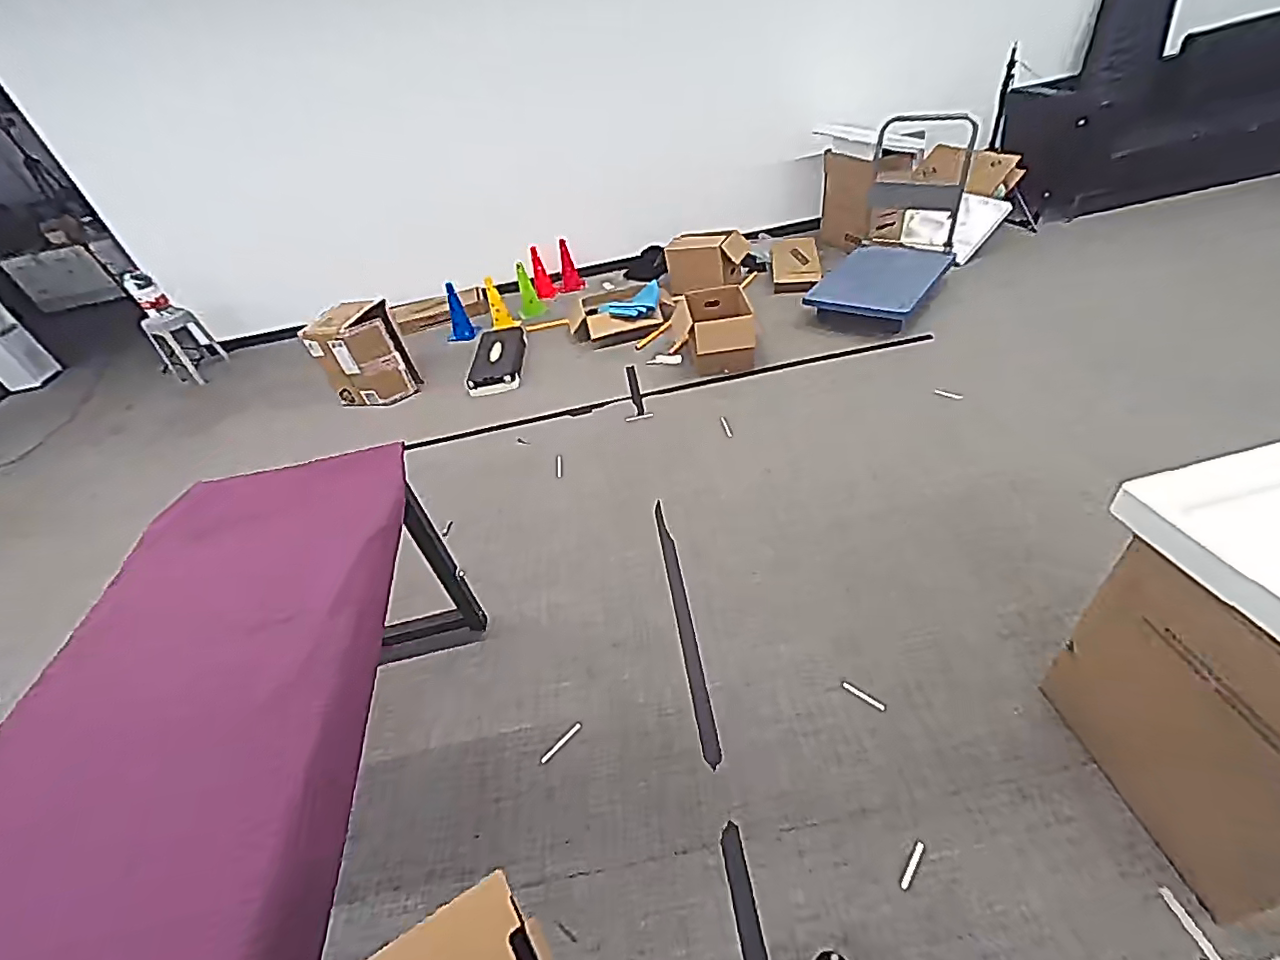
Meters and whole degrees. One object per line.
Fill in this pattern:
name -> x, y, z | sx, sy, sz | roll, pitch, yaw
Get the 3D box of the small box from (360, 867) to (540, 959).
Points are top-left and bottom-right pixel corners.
small box -> -0.194, 0.565, 0.564 | 0.179, 0.176, 0.168 | -17, 47, -34
